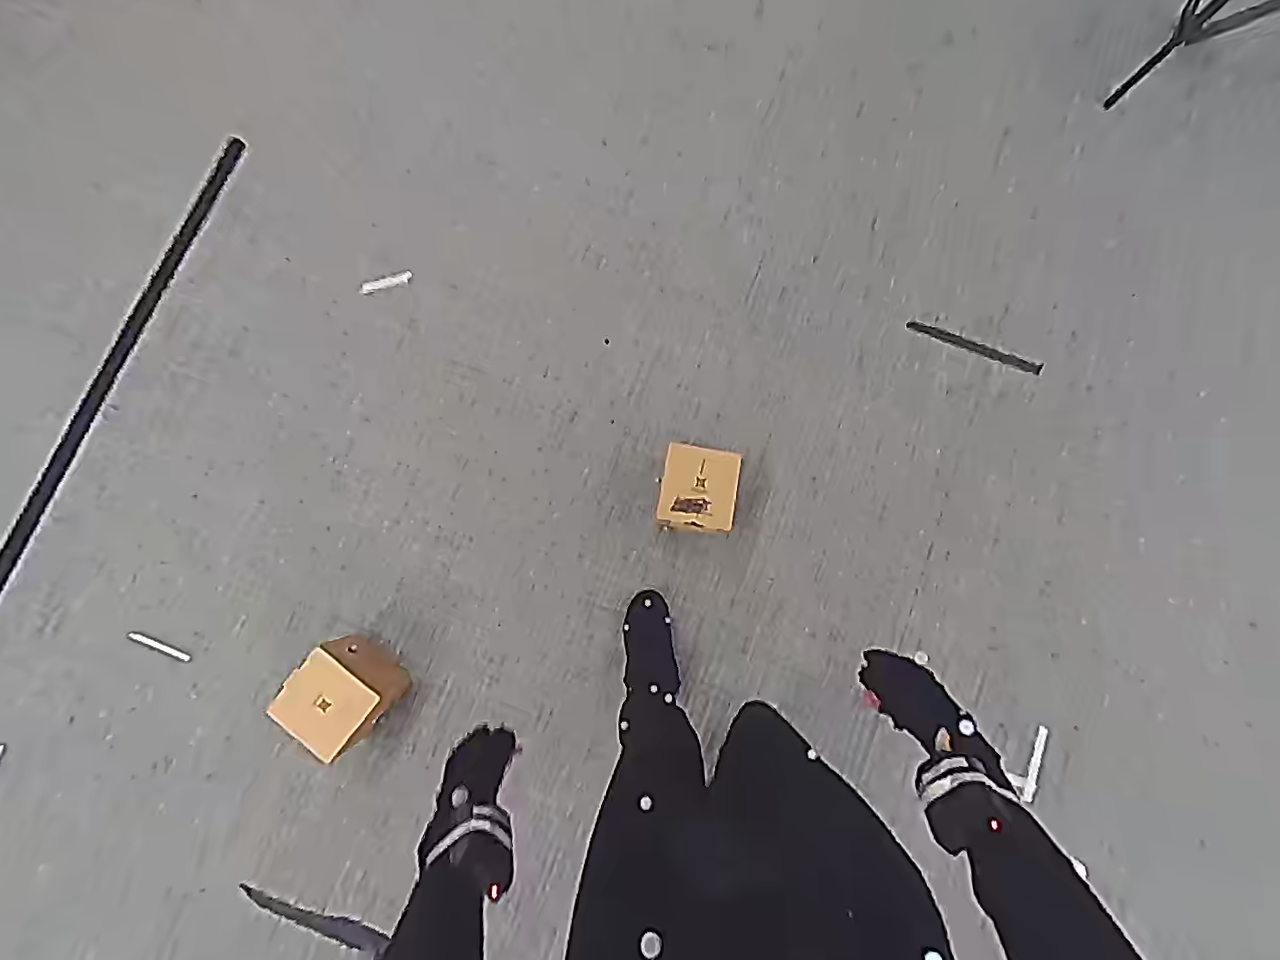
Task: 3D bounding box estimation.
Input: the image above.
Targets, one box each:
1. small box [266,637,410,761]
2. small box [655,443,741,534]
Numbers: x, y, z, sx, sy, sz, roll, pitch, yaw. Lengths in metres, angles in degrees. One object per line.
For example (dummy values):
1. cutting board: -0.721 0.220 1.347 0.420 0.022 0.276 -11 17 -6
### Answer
1. small box: -0.646 0.463 1.180 0.179 0.176 0.168 37 84 2
2. small box: 0.128 0.028 1.262 0.168 0.176 0.179 10 81 0
